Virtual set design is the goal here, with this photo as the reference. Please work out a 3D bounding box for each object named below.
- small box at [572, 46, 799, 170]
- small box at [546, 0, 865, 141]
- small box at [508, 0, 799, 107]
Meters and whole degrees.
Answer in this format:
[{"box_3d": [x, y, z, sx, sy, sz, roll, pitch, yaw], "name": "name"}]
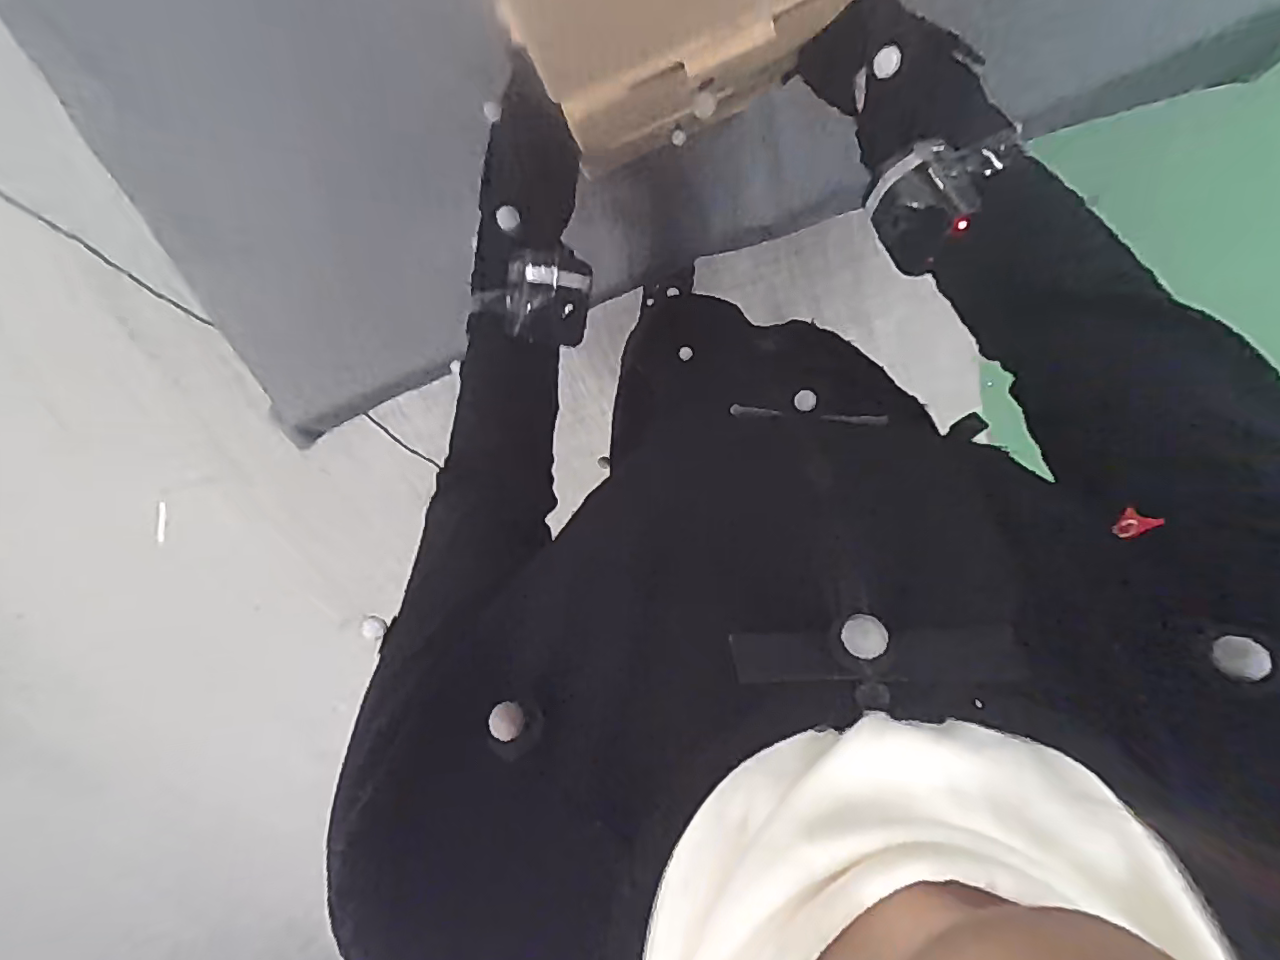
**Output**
[{"box_3d": [0.001, -0.372, 0.435, 0.179, 0.176, 0.168, -22, 116, 6], "name": "small box"}, {"box_3d": [0.004, -0.305, 0.287, 0.168, 0.176, 0.179, -21, 116, 7], "name": "small box"}, {"box_3d": [0.016, -0.234, 0.137, 0.179, 0.176, 0.168, -24, 115, 7], "name": "small box"}]
